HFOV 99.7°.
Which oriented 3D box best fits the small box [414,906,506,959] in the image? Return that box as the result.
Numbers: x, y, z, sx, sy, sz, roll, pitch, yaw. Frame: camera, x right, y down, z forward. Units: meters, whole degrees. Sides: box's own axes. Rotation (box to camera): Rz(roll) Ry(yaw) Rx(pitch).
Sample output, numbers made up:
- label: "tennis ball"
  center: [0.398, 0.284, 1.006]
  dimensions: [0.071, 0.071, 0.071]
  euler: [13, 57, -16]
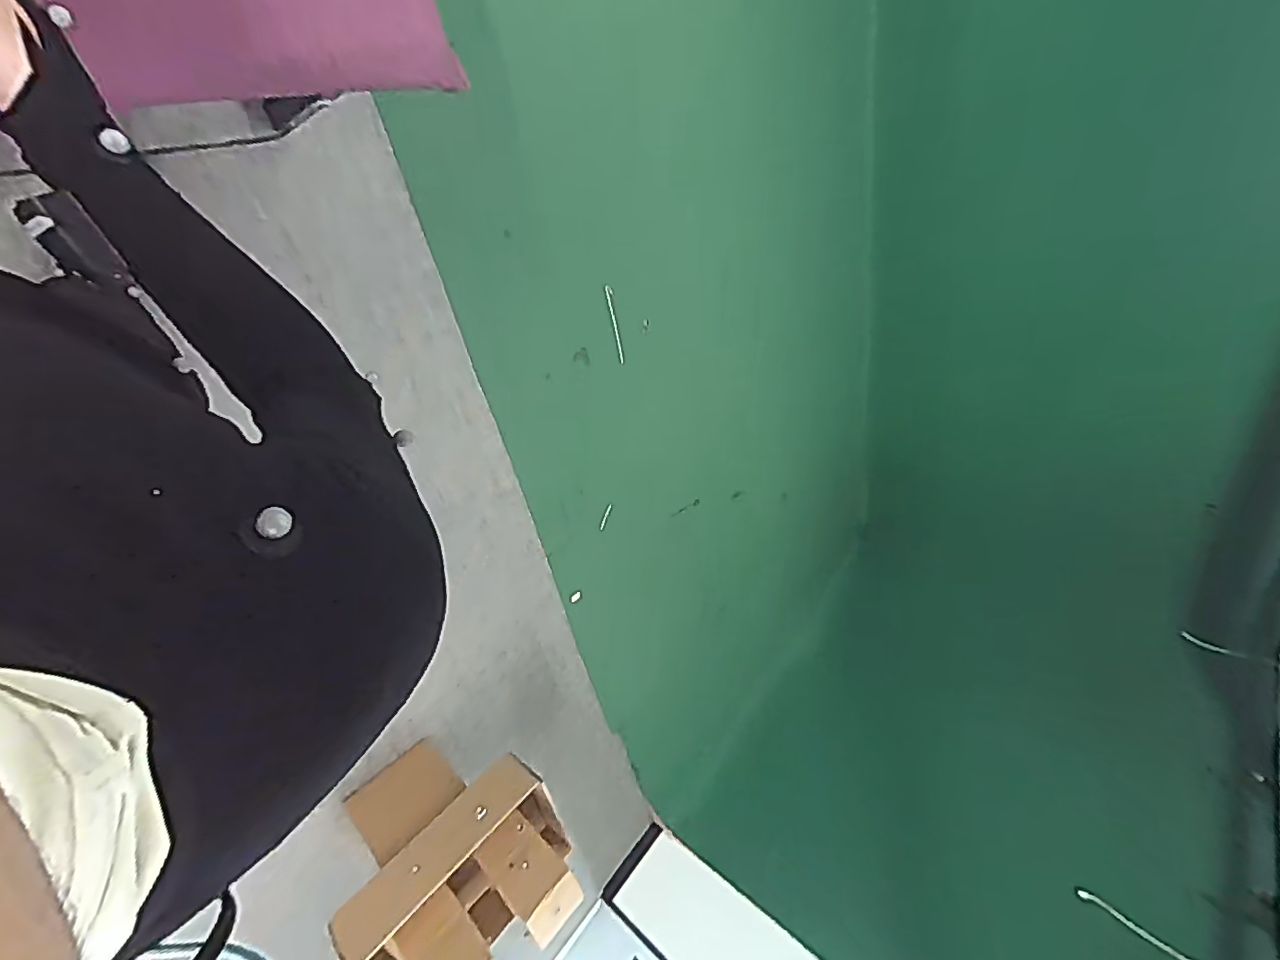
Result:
- label: "small box"
  center: [-0.472, 1.298, 1.436]
  dimensions: [0.179, 0.176, 0.168]
  euler: [-34, 125, -35]

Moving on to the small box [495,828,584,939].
- label: "small box"
  center: [-0.296, 1.173, 1.585]
  dimensions: [0.168, 0.176, 0.179]
  euler: [-36, 128, -35]
